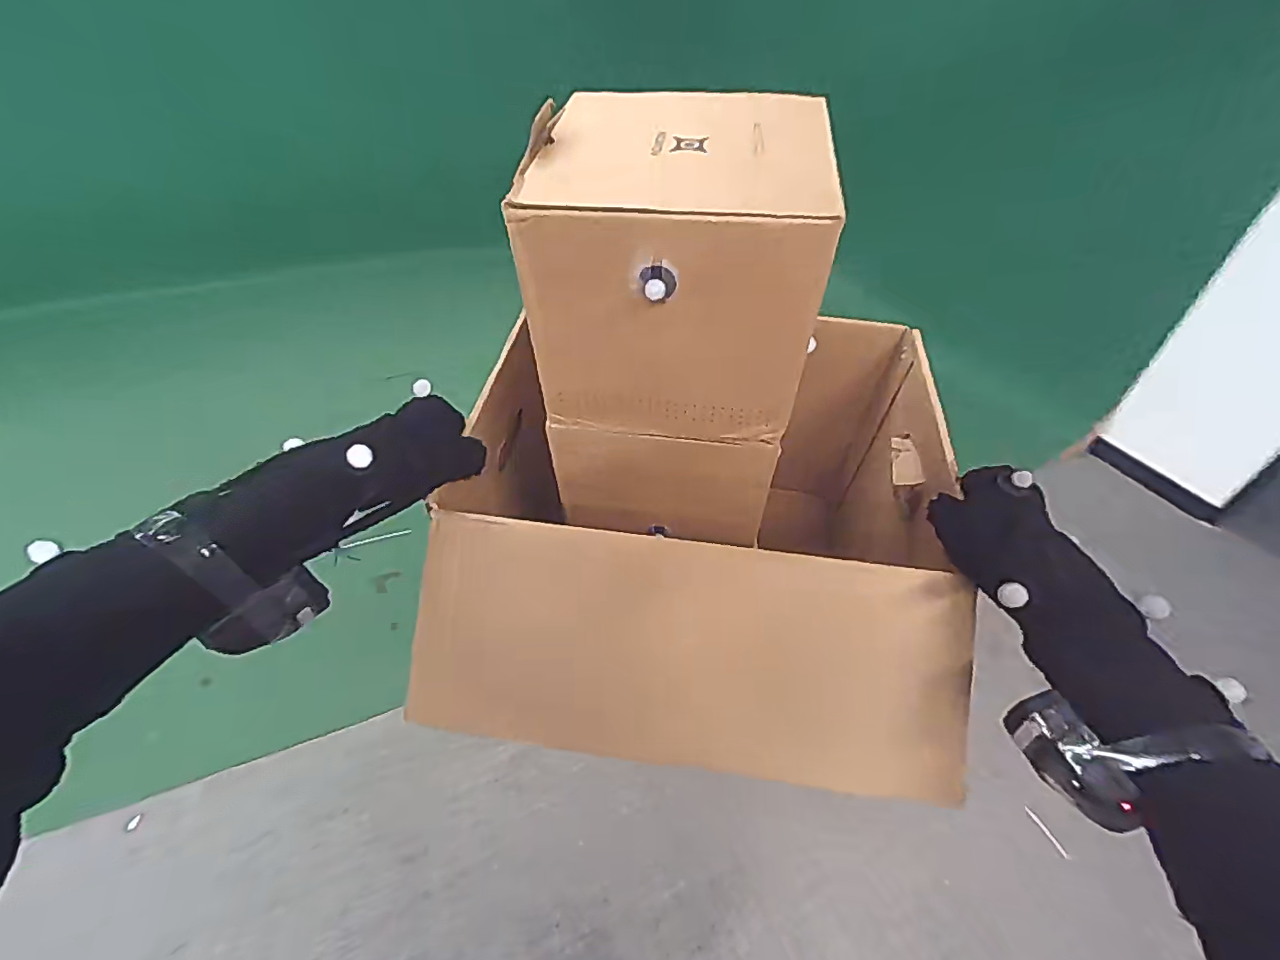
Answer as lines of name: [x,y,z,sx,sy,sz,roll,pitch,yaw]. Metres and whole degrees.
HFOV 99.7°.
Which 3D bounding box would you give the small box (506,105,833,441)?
small box: [0.024,-0.144,0.392,0.179,0.176,0.168,5,53,4]
